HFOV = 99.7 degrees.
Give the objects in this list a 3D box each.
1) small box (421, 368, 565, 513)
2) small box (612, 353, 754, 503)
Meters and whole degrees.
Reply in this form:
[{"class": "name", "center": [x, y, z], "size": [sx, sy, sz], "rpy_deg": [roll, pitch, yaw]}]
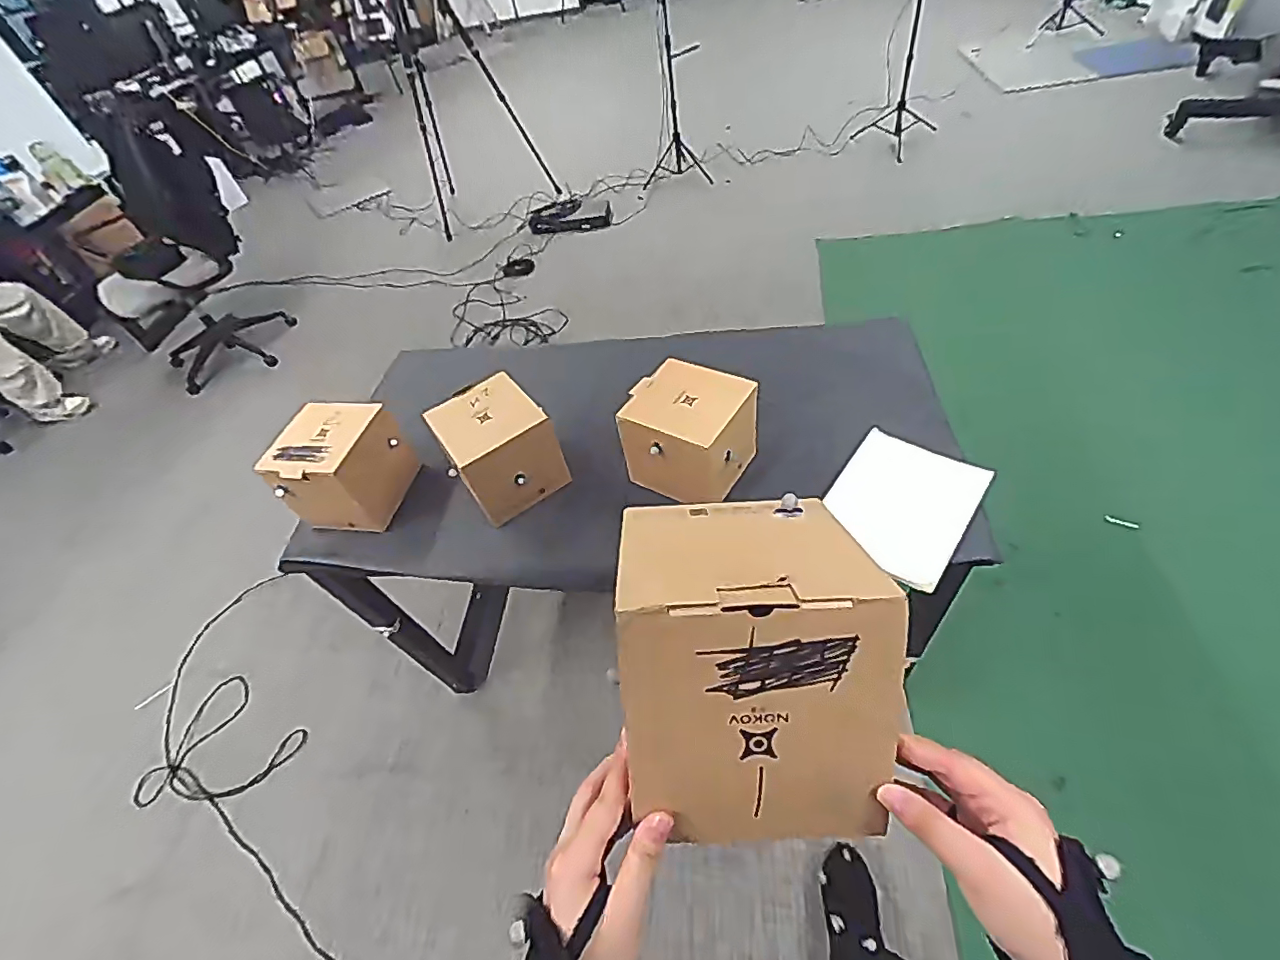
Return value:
[{"class": "small box", "center": [-0.258, -0.064, 0.978], "size": [0.168, 0.176, 0.179], "rpy_deg": [-33, 52, -17]}, {"class": "small box", "center": [0.082, -0.085, 0.927], "size": [0.179, 0.176, 0.168], "rpy_deg": [23, 58, 28]}]
